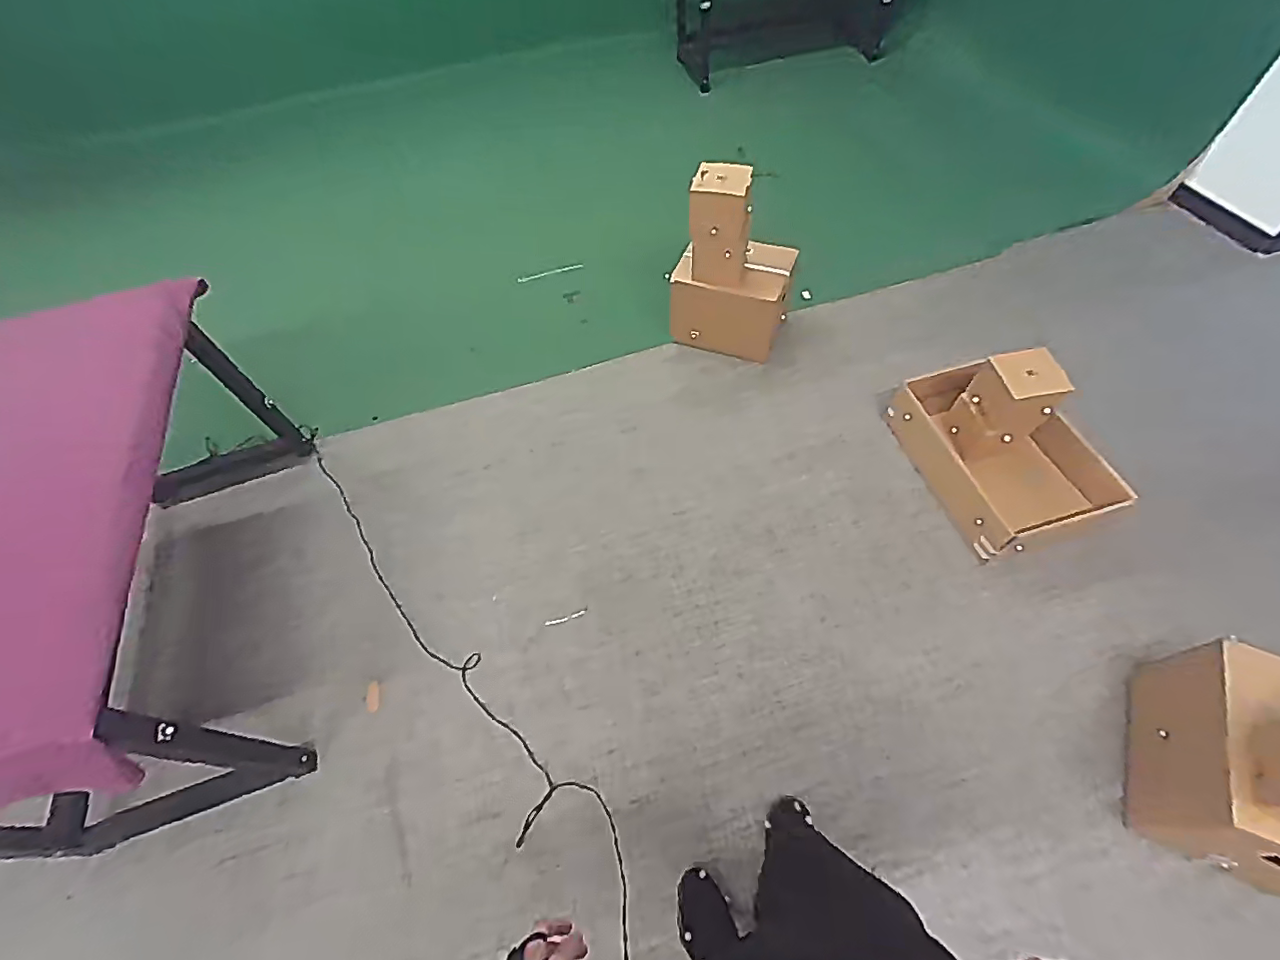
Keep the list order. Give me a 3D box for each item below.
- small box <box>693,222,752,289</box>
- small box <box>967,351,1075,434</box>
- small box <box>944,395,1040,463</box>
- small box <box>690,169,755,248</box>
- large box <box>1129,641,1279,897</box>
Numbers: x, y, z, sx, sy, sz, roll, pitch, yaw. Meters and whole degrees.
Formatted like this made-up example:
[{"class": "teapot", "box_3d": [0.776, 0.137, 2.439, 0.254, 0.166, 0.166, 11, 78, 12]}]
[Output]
[{"class": "small box", "box_3d": [0.293, -0.810, 1.935, 0.179, 0.176, 0.168, 12, 59, 12]}, {"class": "small box", "box_3d": [1.134, -0.260, 1.626, 0.179, 0.176, 0.168, -9, 59, 0]}, {"class": "small box", "box_3d": [1.140, -0.177, 1.766, 0.179, 0.176, 0.168, -13, 60, -2]}, {"class": "small box", "box_3d": [0.272, -0.901, 1.800, 0.179, 0.176, 0.168, 13, 59, 12]}, {"class": "large box", "box_3d": [1.358, 0.642, 1.193, 0.320, 0.320, 0.408, 21, 60, 16]}]
